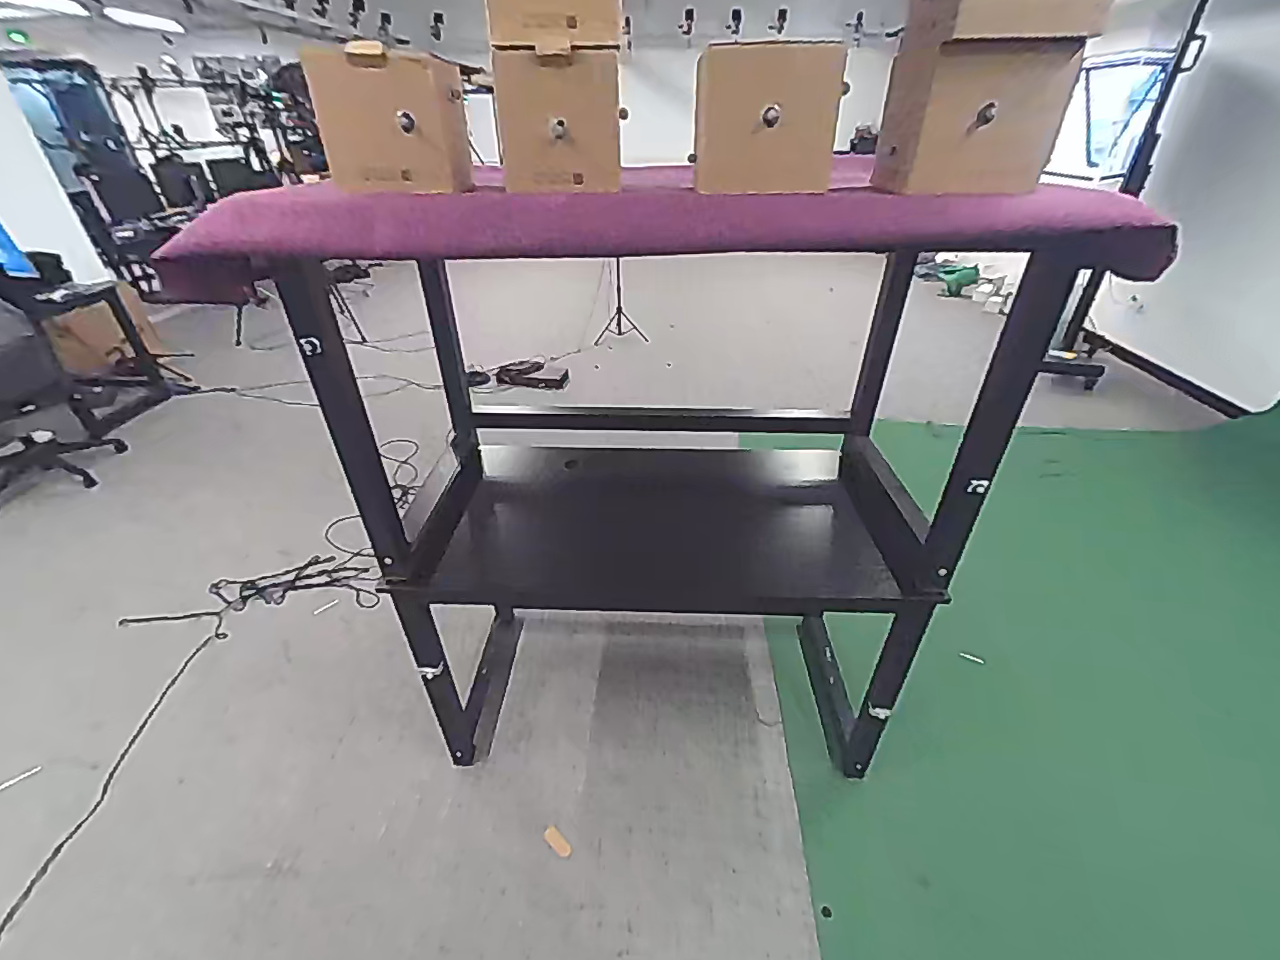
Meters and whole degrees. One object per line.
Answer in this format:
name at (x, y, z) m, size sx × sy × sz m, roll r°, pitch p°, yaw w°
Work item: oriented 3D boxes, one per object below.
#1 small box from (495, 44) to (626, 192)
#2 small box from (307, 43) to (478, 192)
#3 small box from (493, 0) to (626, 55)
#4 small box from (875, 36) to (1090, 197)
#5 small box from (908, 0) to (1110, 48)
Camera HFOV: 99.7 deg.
small box at (-0.106, -0.528, 0.801) m, size 0.168 × 0.176 × 0.179 m, roll -1°, pitch 33°, yaw -2°
small box at (-0.346, -0.528, 0.800) m, size 0.168 × 0.176 × 0.179 m, roll -1°, pitch 32°, yaw -3°
small box at (-0.105, -0.663, 0.709) m, size 0.168 × 0.176 × 0.179 m, roll -2°, pitch 31°, yaw -3°
small box at (0.455, -0.500, 0.754) m, size 0.179 × 0.176 × 0.168 m, roll 0°, pitch 34°, yaw 4°
small box at (0.454, -0.625, 0.645) m, size 0.179 × 0.176 × 0.168 m, roll 1°, pitch 33°, yaw 3°
